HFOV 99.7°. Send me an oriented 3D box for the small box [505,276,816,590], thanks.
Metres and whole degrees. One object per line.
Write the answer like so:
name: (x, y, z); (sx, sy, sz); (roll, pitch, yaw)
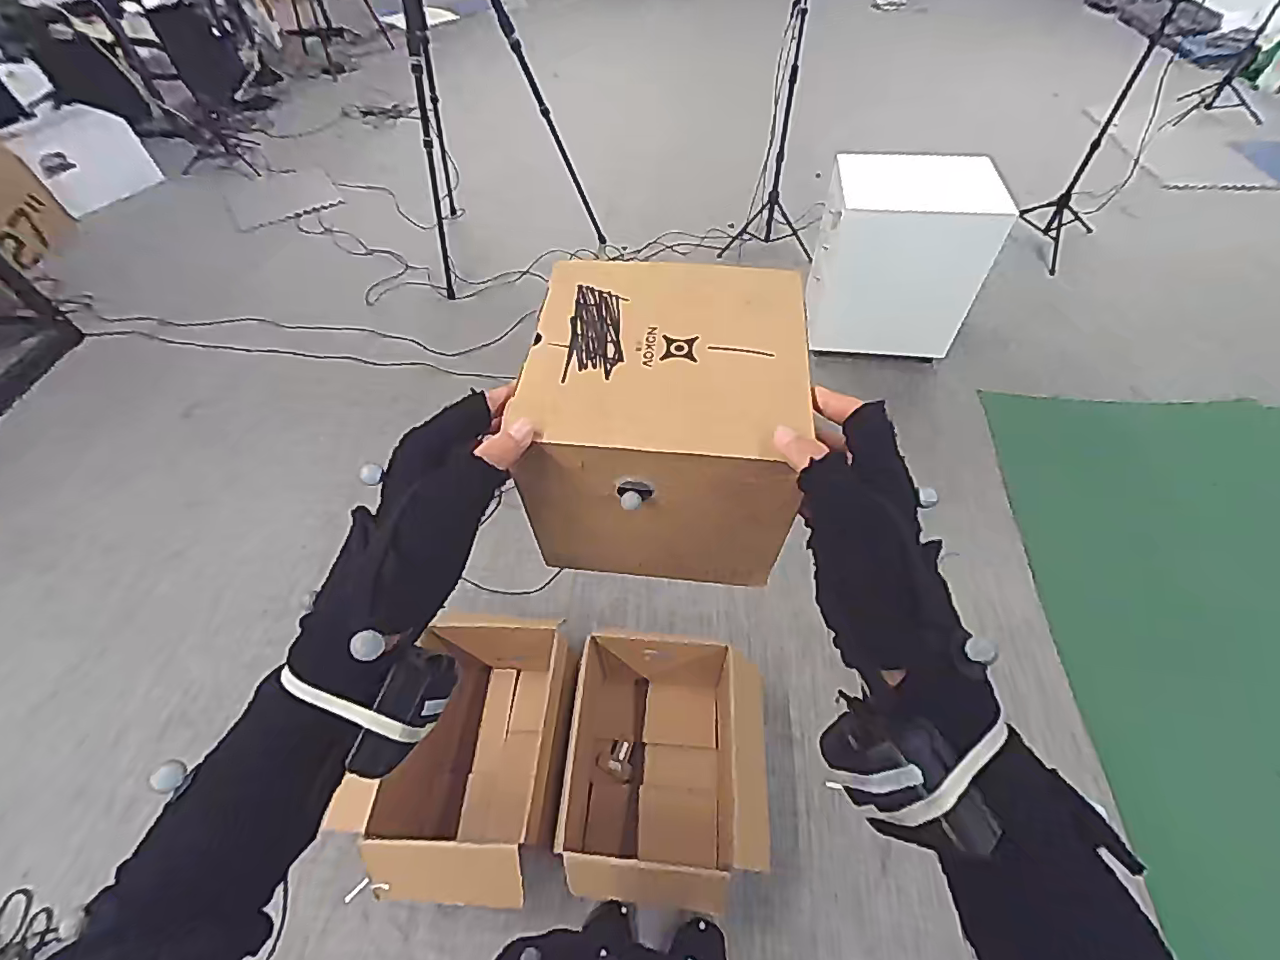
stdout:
small box: (0.020, -0.029, 0.406); (0.179, 0.176, 0.168); (5, 56, 4)
